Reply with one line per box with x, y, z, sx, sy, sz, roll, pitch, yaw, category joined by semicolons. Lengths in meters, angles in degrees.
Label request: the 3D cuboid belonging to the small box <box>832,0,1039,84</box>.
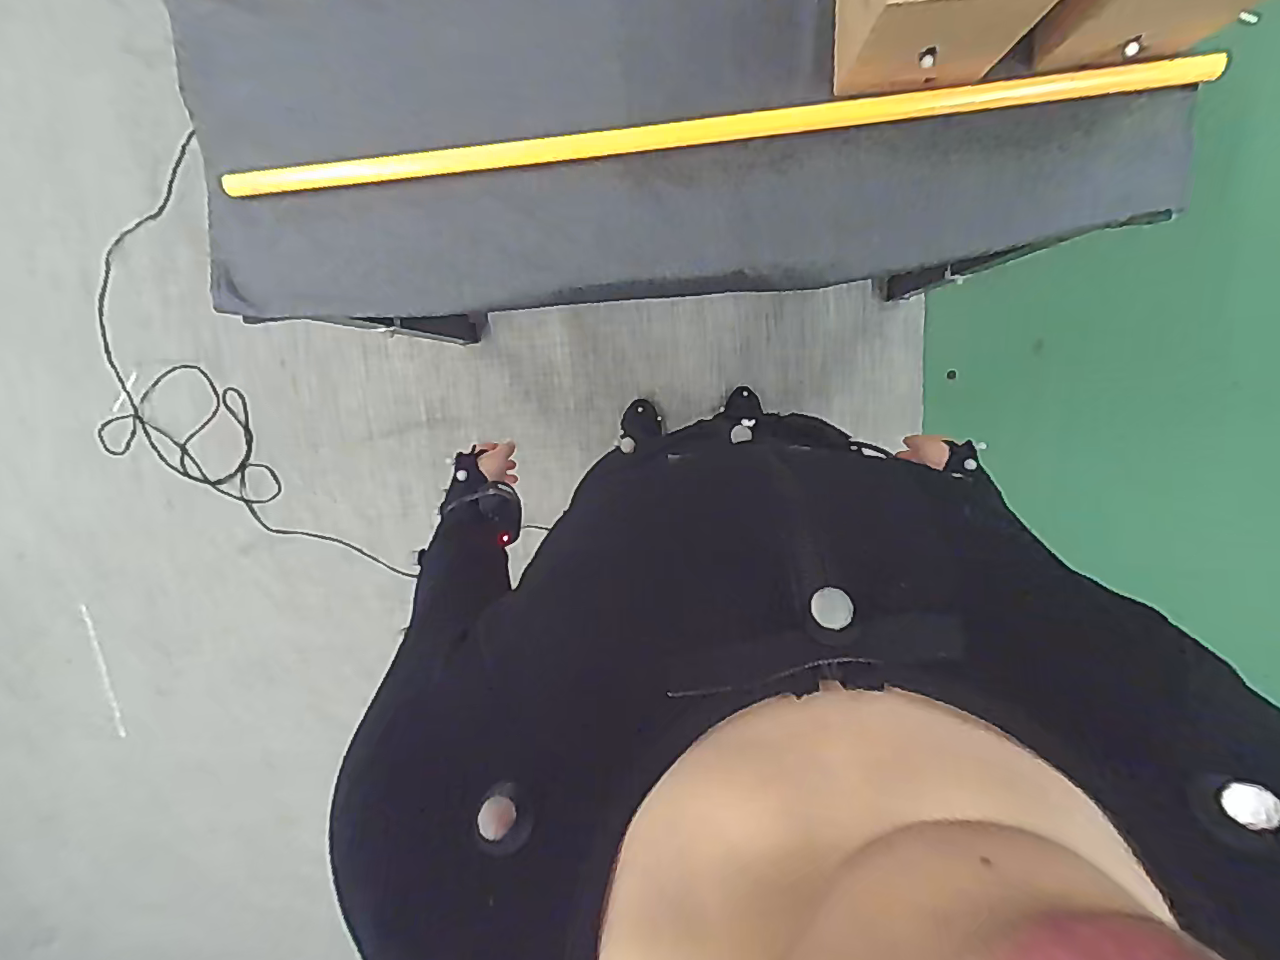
0.302;-0.537;0.550;0.168;0.176;0.179;-2;100;4;small box
